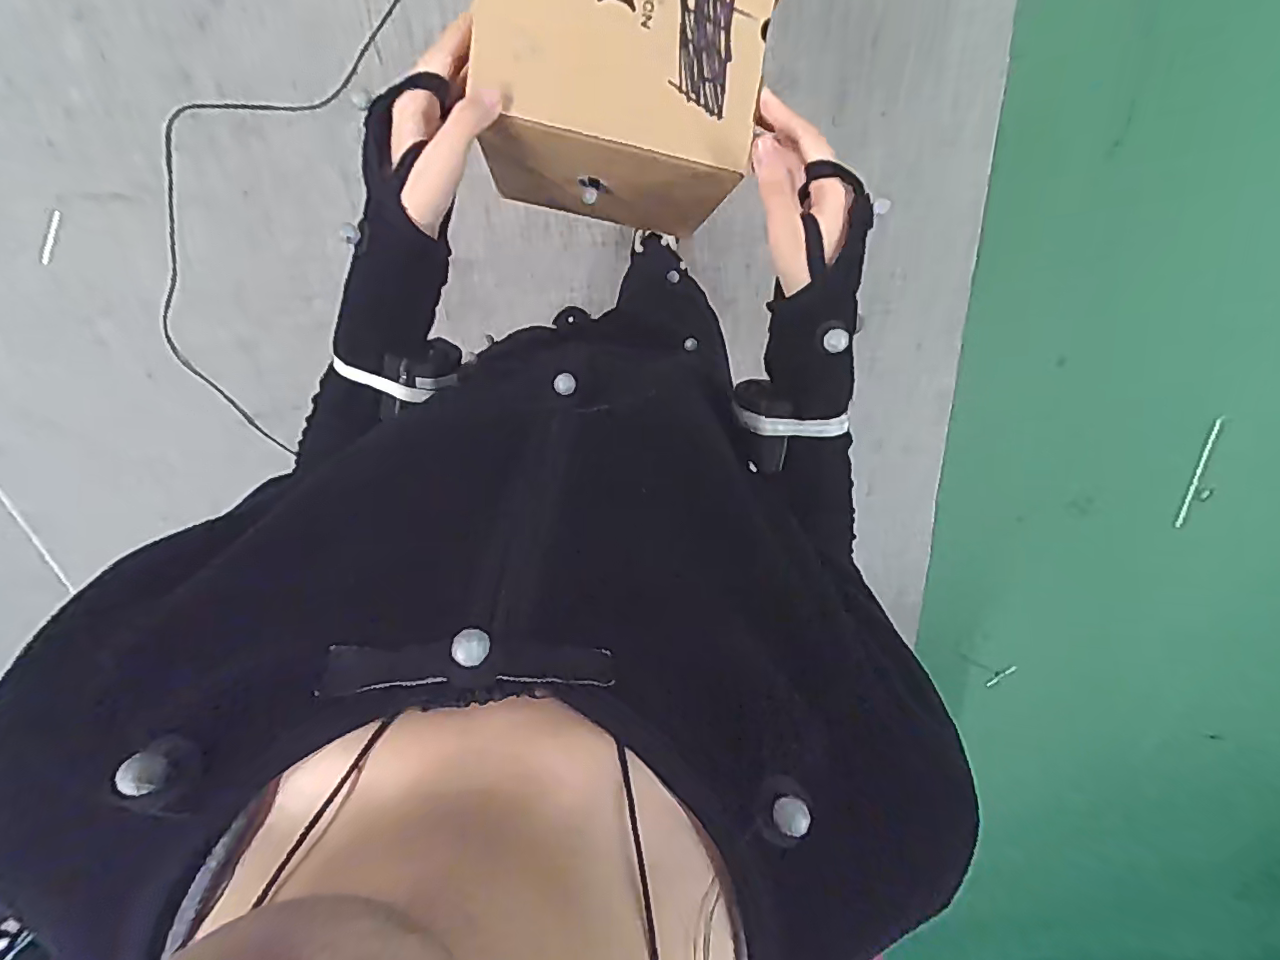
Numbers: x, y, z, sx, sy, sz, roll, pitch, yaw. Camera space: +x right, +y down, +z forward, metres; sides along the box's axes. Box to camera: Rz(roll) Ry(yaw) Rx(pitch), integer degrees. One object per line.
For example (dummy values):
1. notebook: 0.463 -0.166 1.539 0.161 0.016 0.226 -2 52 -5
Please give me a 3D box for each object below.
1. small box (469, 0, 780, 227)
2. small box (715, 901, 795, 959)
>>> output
1. small box: -0.013 -0.302 0.396 0.179 0.176 0.168 9 101 -8
2. small box: 0.278 1.154 1.302 0.179 0.176 0.168 -8 117 4
